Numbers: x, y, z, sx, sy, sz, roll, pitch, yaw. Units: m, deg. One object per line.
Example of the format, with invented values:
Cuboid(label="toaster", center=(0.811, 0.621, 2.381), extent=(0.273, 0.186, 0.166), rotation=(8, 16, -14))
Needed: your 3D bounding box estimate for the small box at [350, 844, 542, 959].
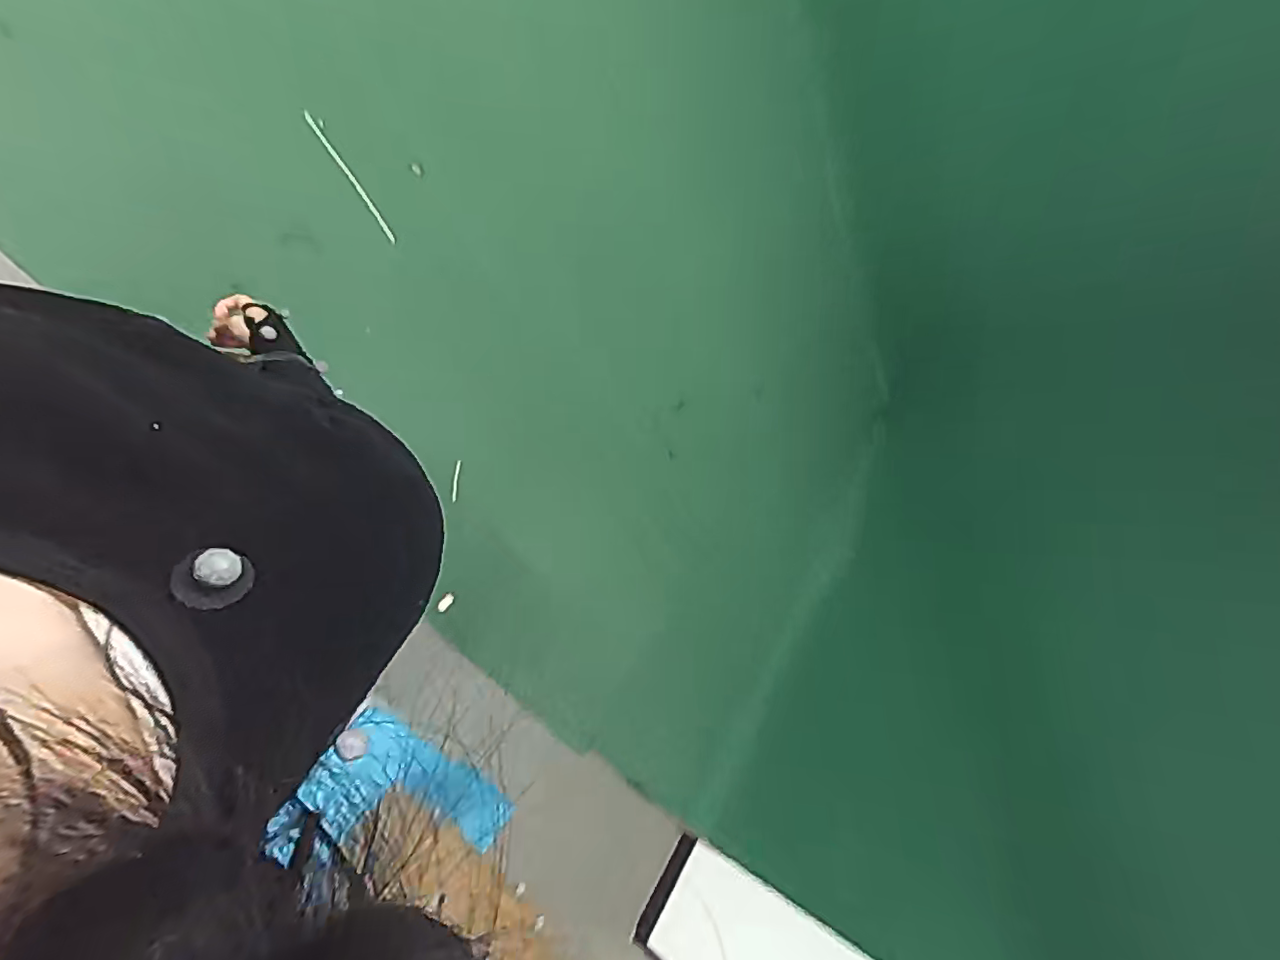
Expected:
Cuboid(label="small box", center=(-0.286, 0.682, 0.795), extent=(0.168, 0.176, 0.179), rotation=(-47, 127, -30))

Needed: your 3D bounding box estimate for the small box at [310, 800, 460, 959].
Cuboid(label="small box", center=(-0.407, 0.675, 0.902), extent=(0.168, 0.176, 0.179), rotation=(-48, 127, -29))

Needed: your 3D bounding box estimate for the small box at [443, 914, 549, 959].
Cuboid(label="small box", center=(-0.177, 0.694, 0.672), extent=(0.168, 0.176, 0.179), rotation=(-47, 126, -30))
